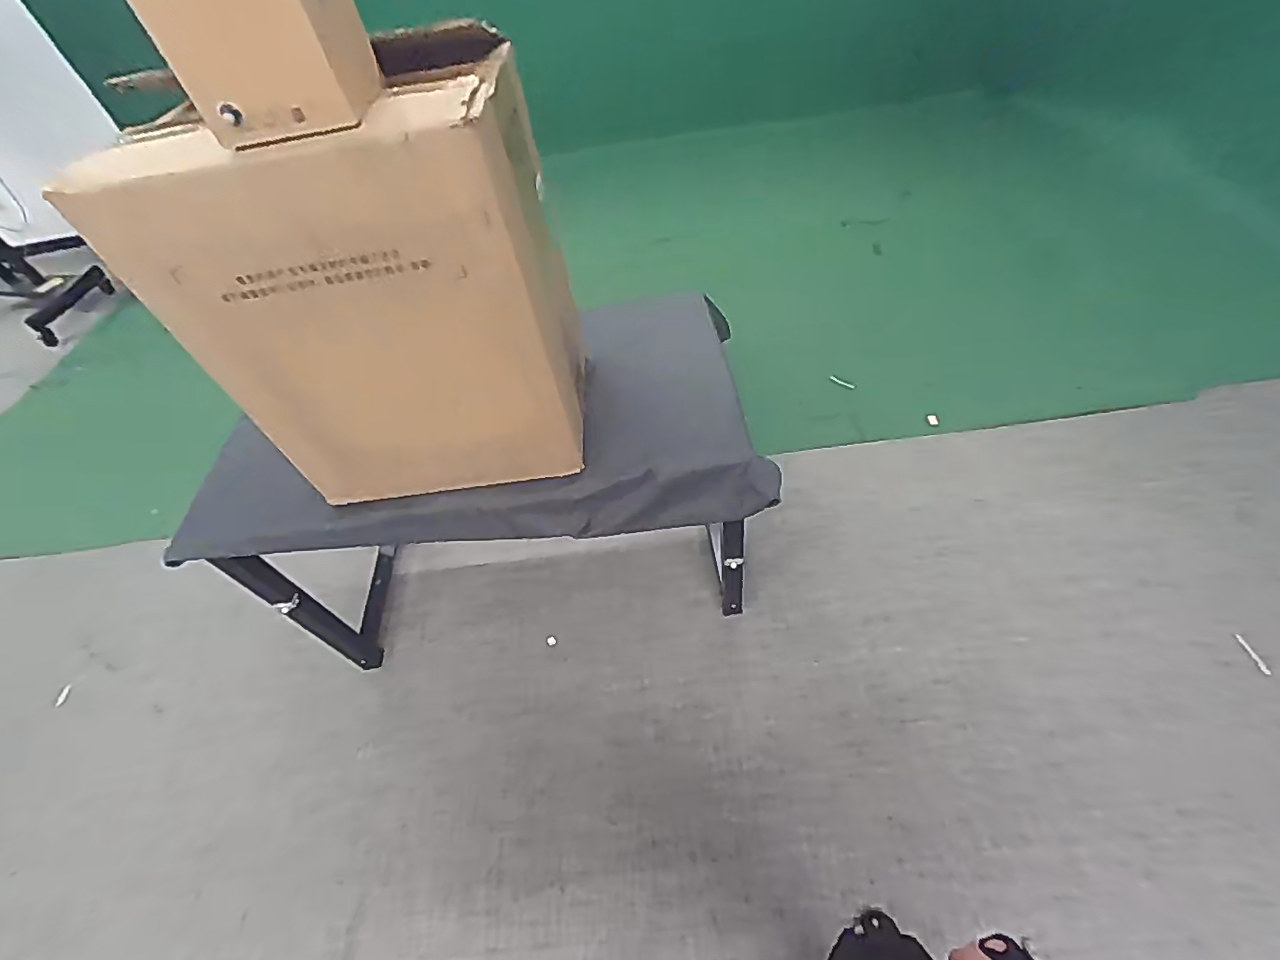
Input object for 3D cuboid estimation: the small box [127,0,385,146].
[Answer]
[{"bbox_3d":[-0.426,-0.513,0.632,0.168,0.176,0.179,-9,50,2],"label":"small box"}]
